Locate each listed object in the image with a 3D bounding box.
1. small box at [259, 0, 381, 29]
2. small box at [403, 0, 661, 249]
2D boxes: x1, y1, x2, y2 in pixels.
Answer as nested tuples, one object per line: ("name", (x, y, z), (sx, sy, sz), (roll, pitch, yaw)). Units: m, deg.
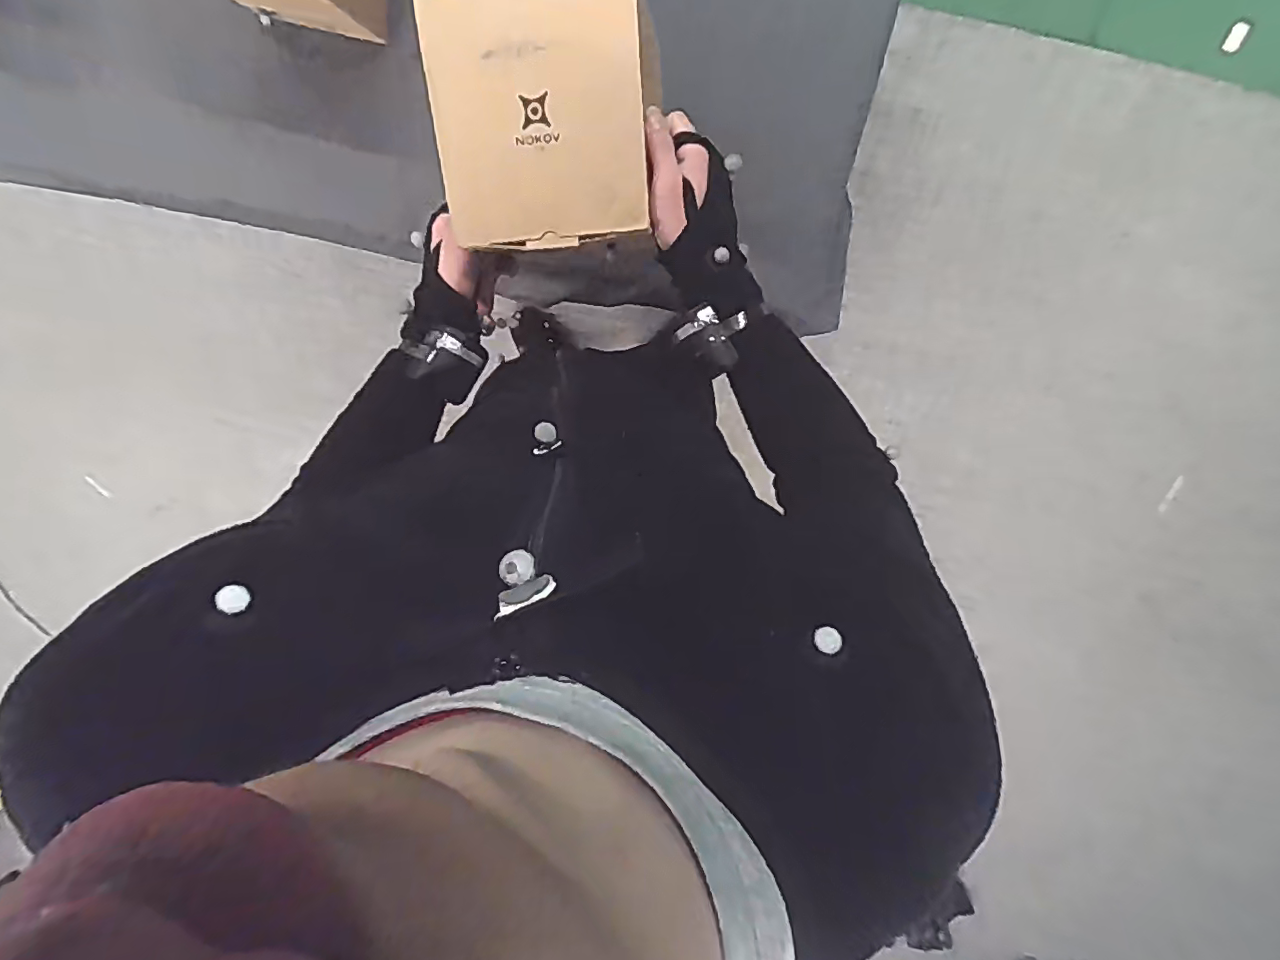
("small box", (-0.372, -0.593, 0.535), (0.168, 0.176, 0.179), (13, 112, 0))
("small box", (-0.073, -0.302, 0.474), (0.168, 0.176, 0.179), (-2, 110, 8))
